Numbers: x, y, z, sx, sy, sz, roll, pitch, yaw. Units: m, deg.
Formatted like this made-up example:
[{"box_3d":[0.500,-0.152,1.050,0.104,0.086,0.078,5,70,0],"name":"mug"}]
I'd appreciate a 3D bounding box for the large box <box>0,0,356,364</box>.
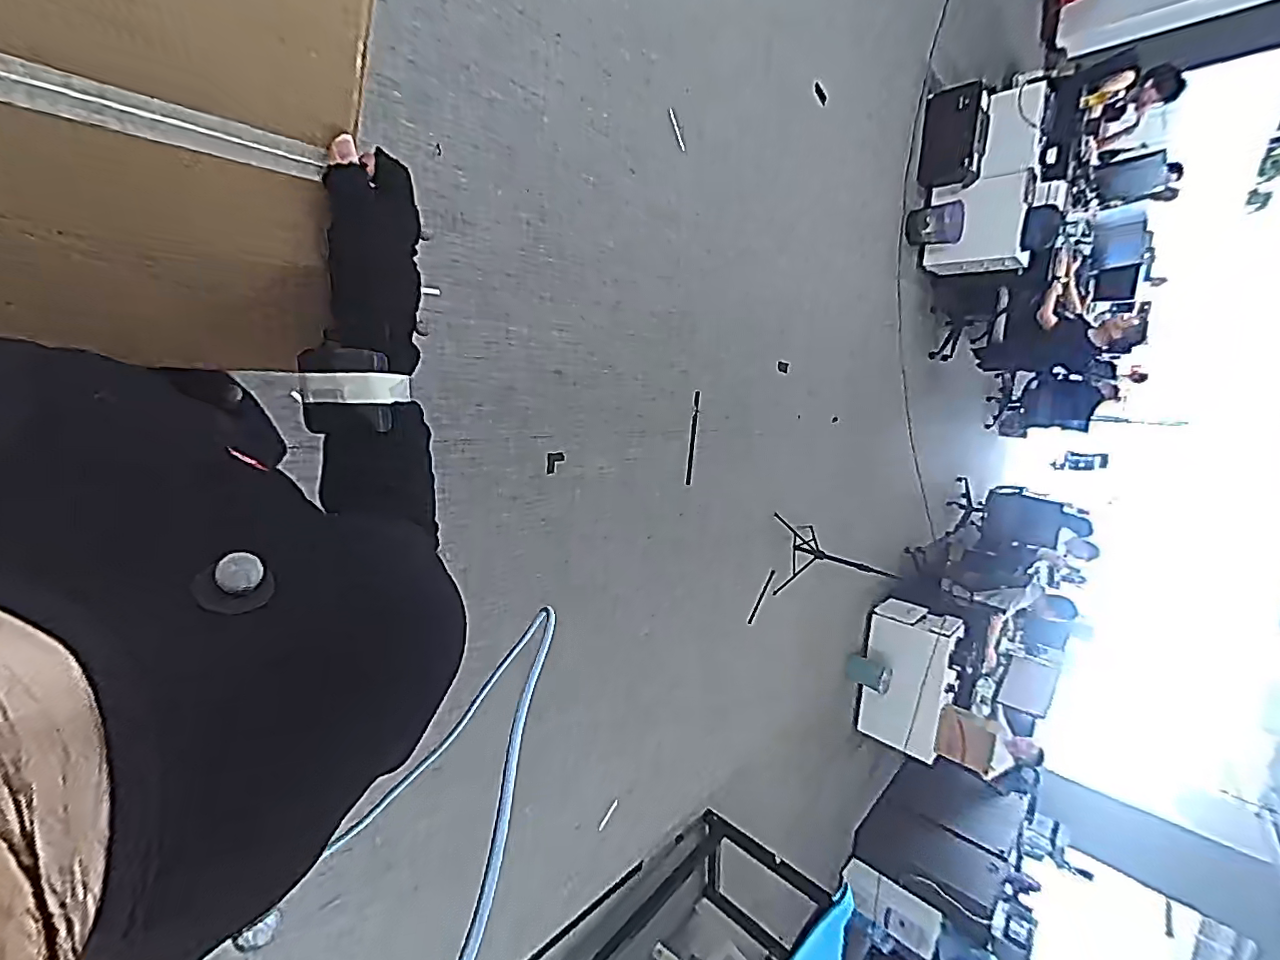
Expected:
[{"box_3d":[-0.441,-0.286,0.322,0.408,0.320,0.320,-9,133,-45],"name":"large box"}]
